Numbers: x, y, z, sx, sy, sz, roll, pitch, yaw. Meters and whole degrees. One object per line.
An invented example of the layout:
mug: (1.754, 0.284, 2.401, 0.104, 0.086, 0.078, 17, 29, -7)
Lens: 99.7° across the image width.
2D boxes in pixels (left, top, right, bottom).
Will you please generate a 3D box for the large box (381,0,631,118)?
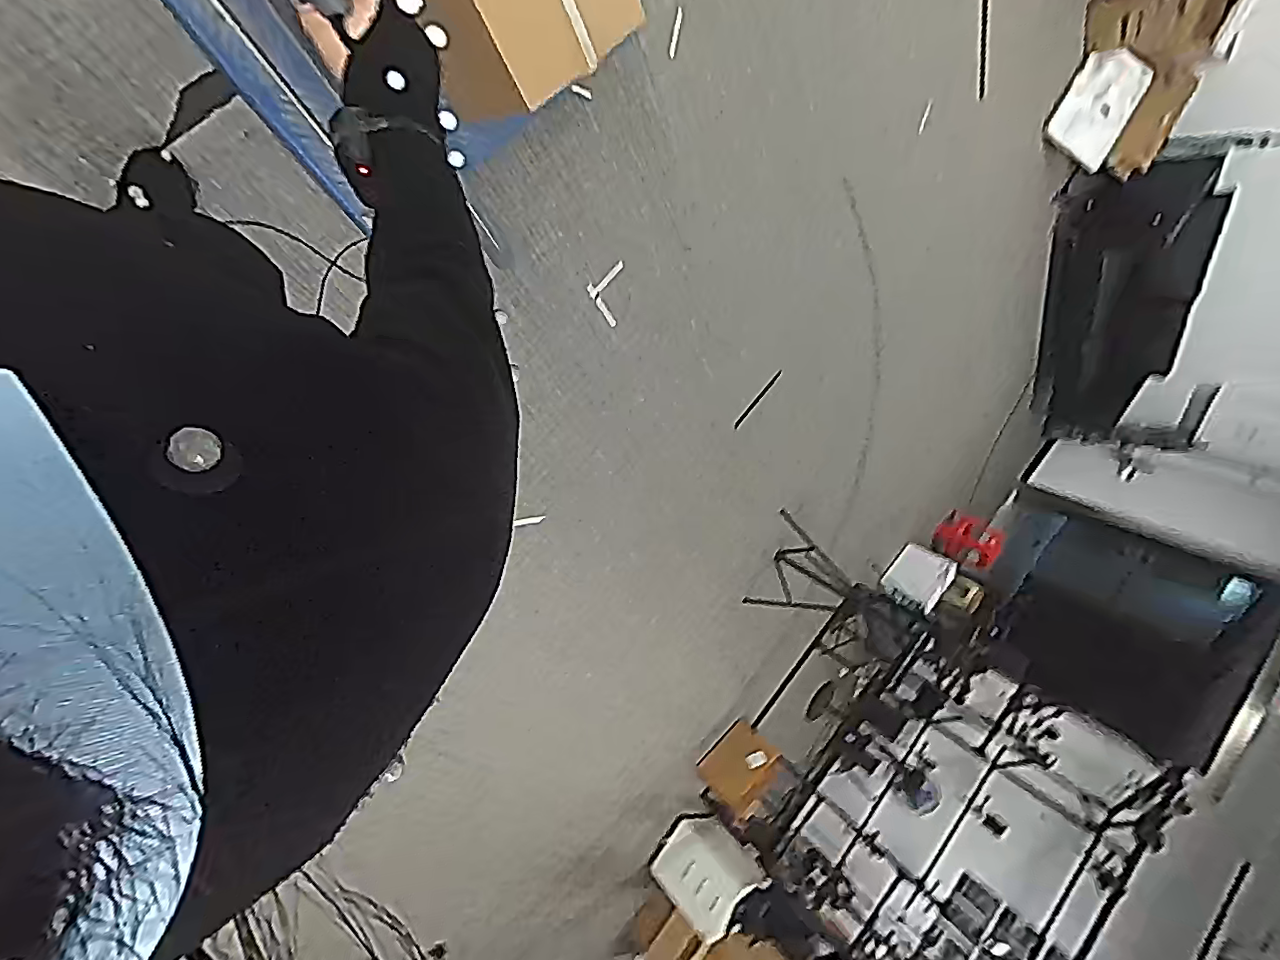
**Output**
large box: (-0.290, -0.945, 0.958, 0.320, 0.320, 0.408, -48, 136, -13)
